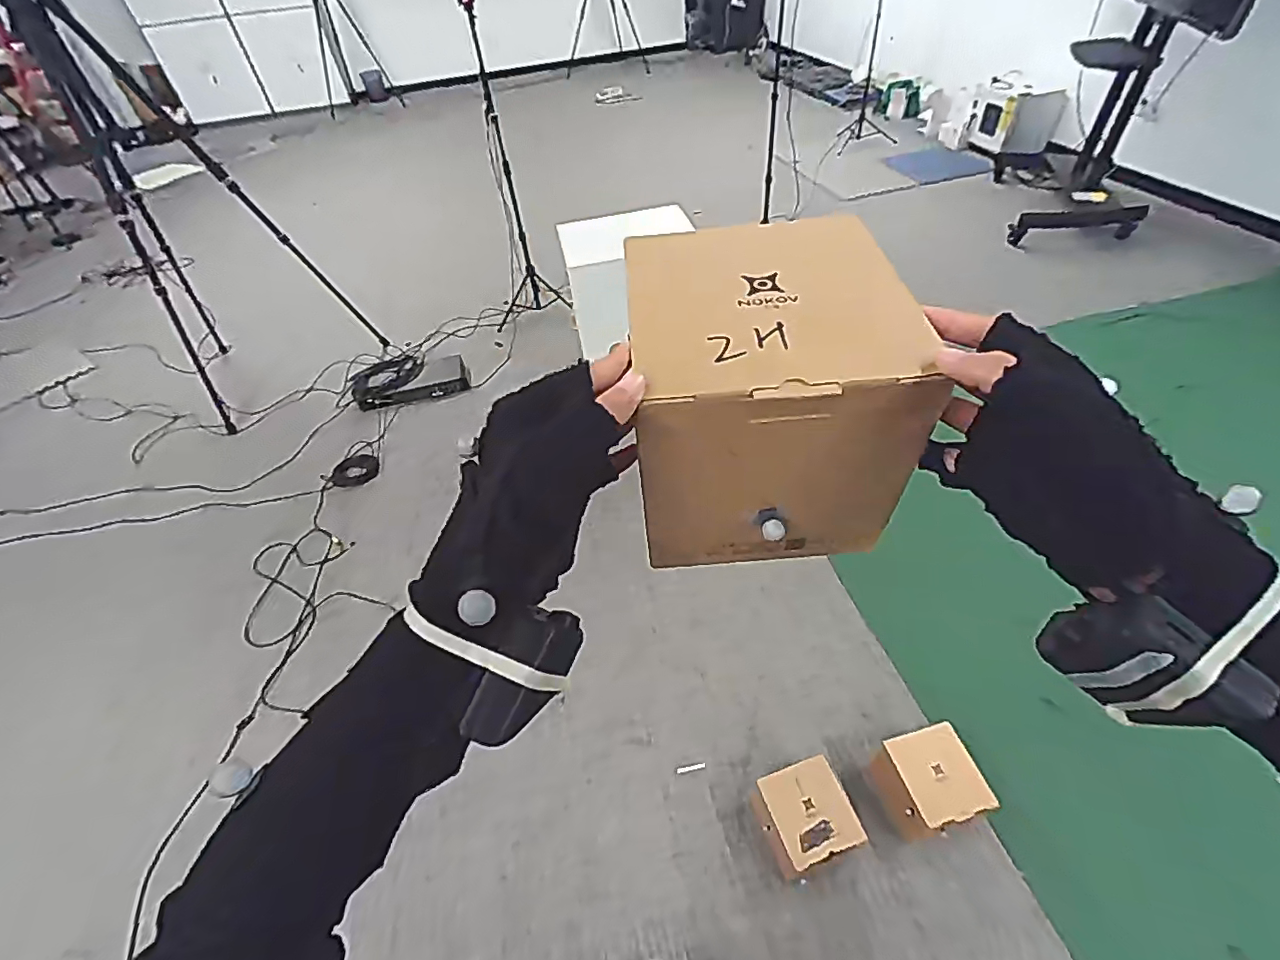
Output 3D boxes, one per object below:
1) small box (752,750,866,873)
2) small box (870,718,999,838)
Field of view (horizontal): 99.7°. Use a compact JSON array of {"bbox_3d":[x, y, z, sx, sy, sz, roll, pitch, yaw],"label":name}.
[{"bbox_3d":[0.360,0.732,1.185,0.168,0.176,0.179,-16,47,-10],"label":"small box"},{"bbox_3d":[0.646,0.671,1.215,0.168,0.176,0.179,-14,48,-6],"label":"small box"}]
